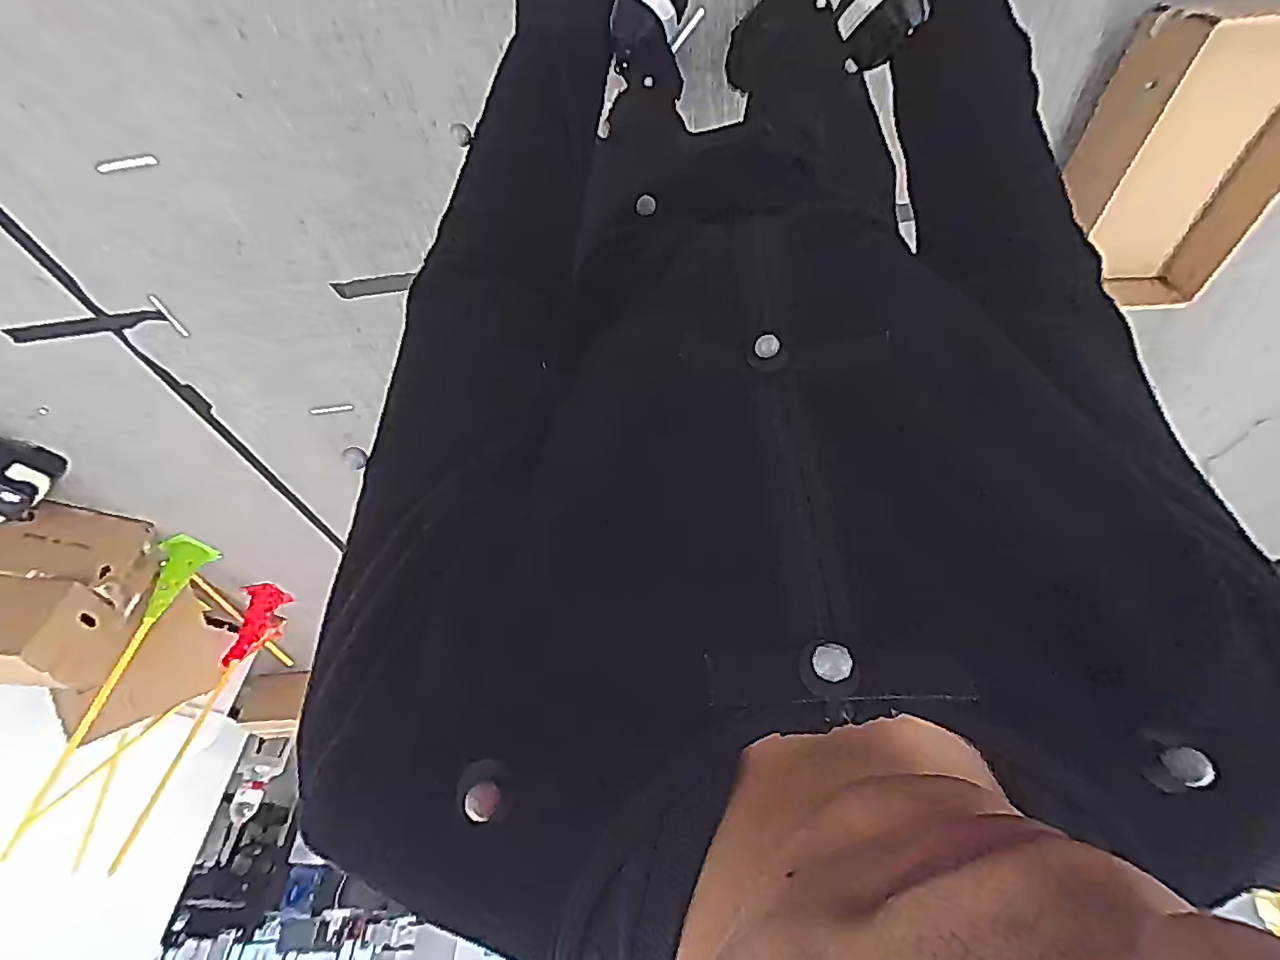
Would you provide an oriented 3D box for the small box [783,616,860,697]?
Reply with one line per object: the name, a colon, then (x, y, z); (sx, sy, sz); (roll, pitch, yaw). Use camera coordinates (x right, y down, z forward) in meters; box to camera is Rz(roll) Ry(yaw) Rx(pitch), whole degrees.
small box: (0.527, 0.513, 1.574); (0.179, 0.176, 0.168); (-13, 137, 13)
